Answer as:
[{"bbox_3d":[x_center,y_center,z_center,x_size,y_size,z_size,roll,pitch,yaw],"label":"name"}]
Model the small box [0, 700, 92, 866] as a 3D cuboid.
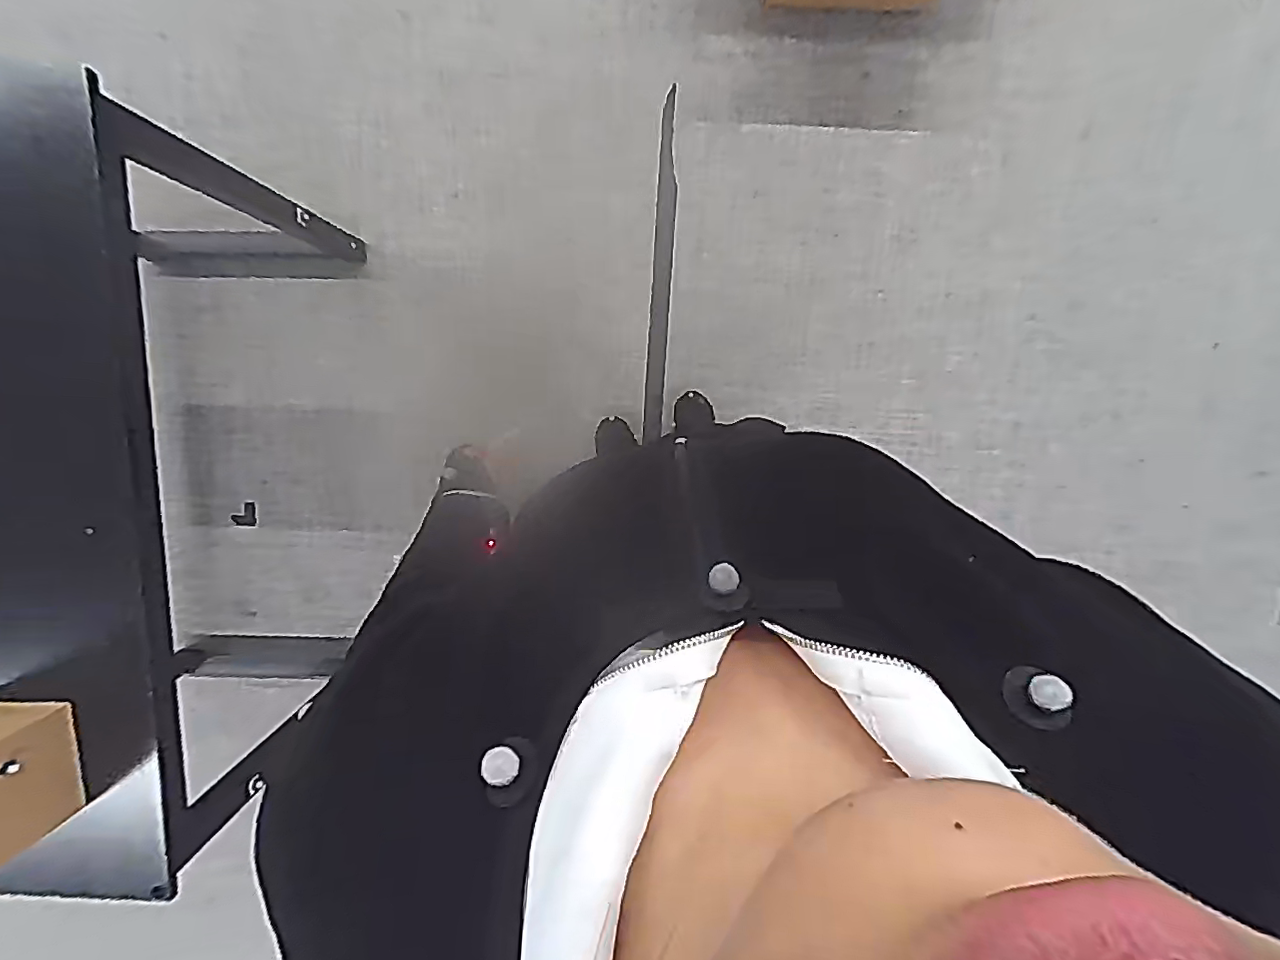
[{"bbox_3d":[-0.931,0.424,0.751,0.168,0.176,0.179,0,99,2],"label":"small box"}]
